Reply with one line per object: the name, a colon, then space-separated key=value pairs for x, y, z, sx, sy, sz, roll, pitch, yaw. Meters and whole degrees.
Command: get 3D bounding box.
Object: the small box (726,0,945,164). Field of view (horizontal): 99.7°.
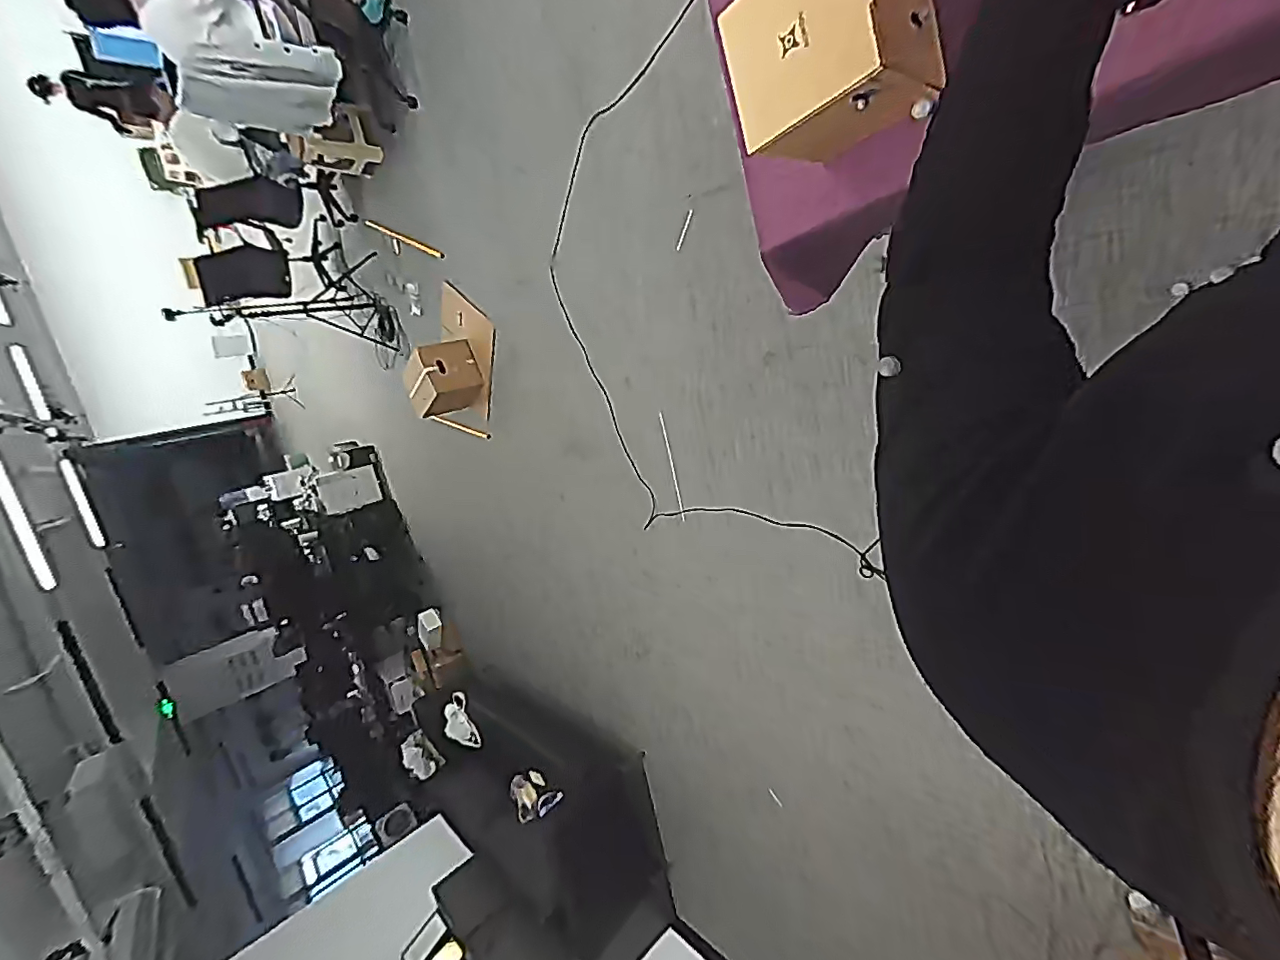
small box: x=0.237 y=-0.513 z=0.657 sx=0.179 sy=0.176 sz=0.168 roll=-6 pitch=101 yaw=51
